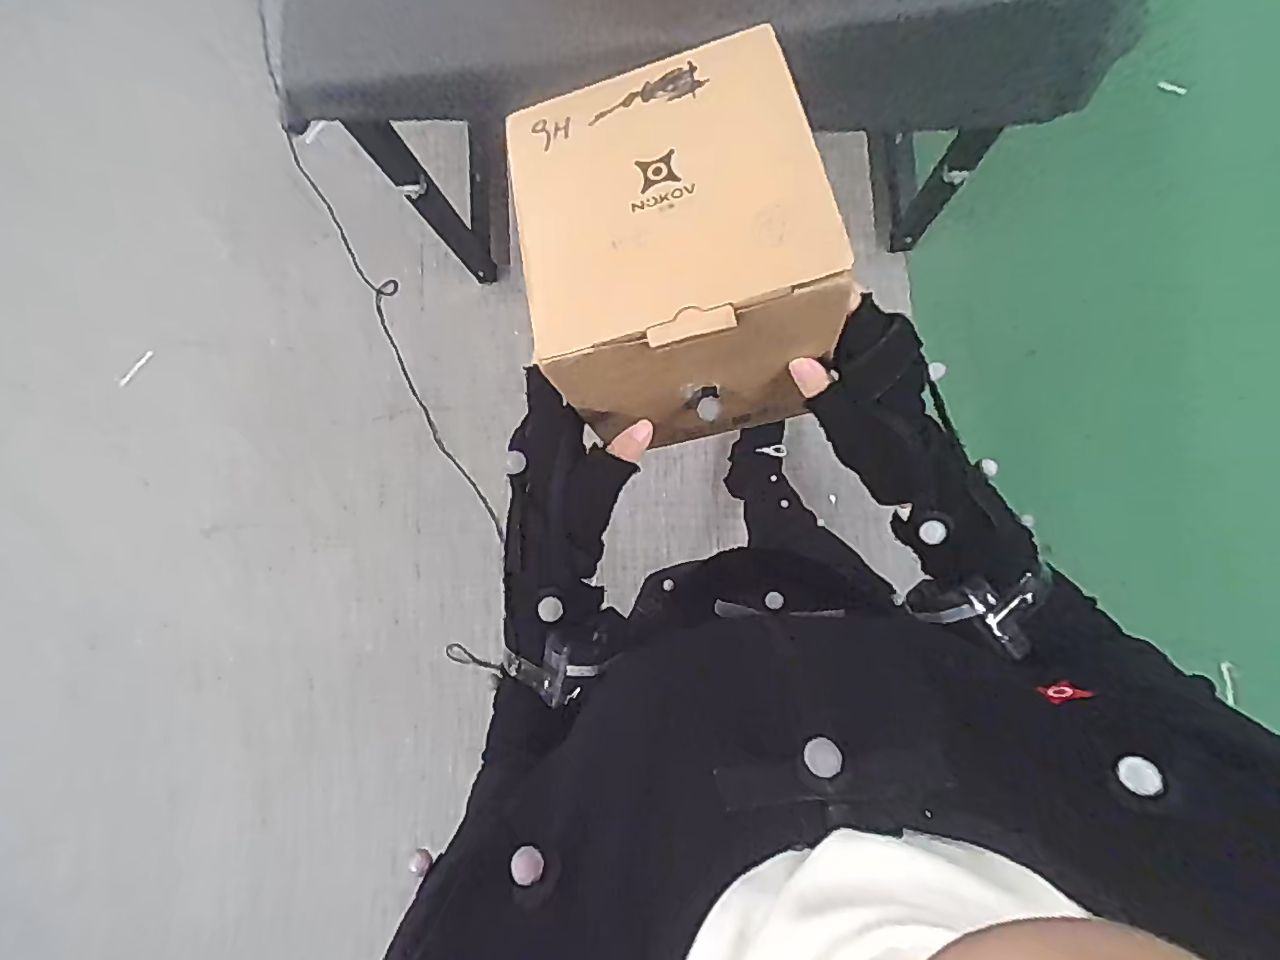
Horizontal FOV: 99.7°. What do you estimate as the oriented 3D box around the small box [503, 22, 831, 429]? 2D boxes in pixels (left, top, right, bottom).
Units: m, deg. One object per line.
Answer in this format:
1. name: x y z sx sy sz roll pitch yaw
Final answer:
1. small box: 0.023 -0.146 0.377 0.168 0.176 0.179 -12 74 9
